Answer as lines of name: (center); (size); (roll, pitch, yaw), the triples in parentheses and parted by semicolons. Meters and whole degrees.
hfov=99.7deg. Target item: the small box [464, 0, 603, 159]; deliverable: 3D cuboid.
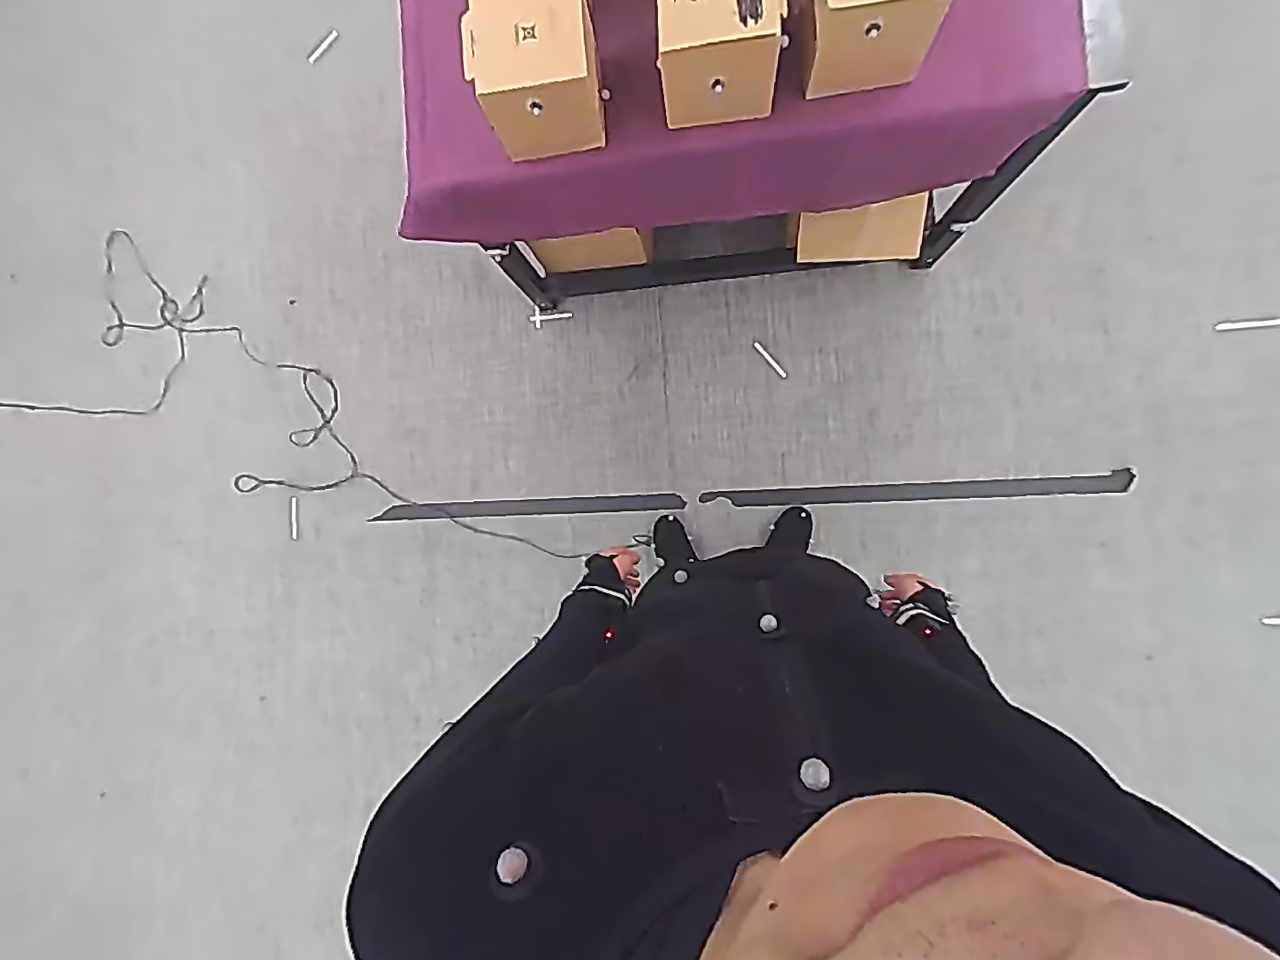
small box: (-0.167, -0.658, 0.885); (0.179, 0.176, 0.168); (-5, 88, 6)
